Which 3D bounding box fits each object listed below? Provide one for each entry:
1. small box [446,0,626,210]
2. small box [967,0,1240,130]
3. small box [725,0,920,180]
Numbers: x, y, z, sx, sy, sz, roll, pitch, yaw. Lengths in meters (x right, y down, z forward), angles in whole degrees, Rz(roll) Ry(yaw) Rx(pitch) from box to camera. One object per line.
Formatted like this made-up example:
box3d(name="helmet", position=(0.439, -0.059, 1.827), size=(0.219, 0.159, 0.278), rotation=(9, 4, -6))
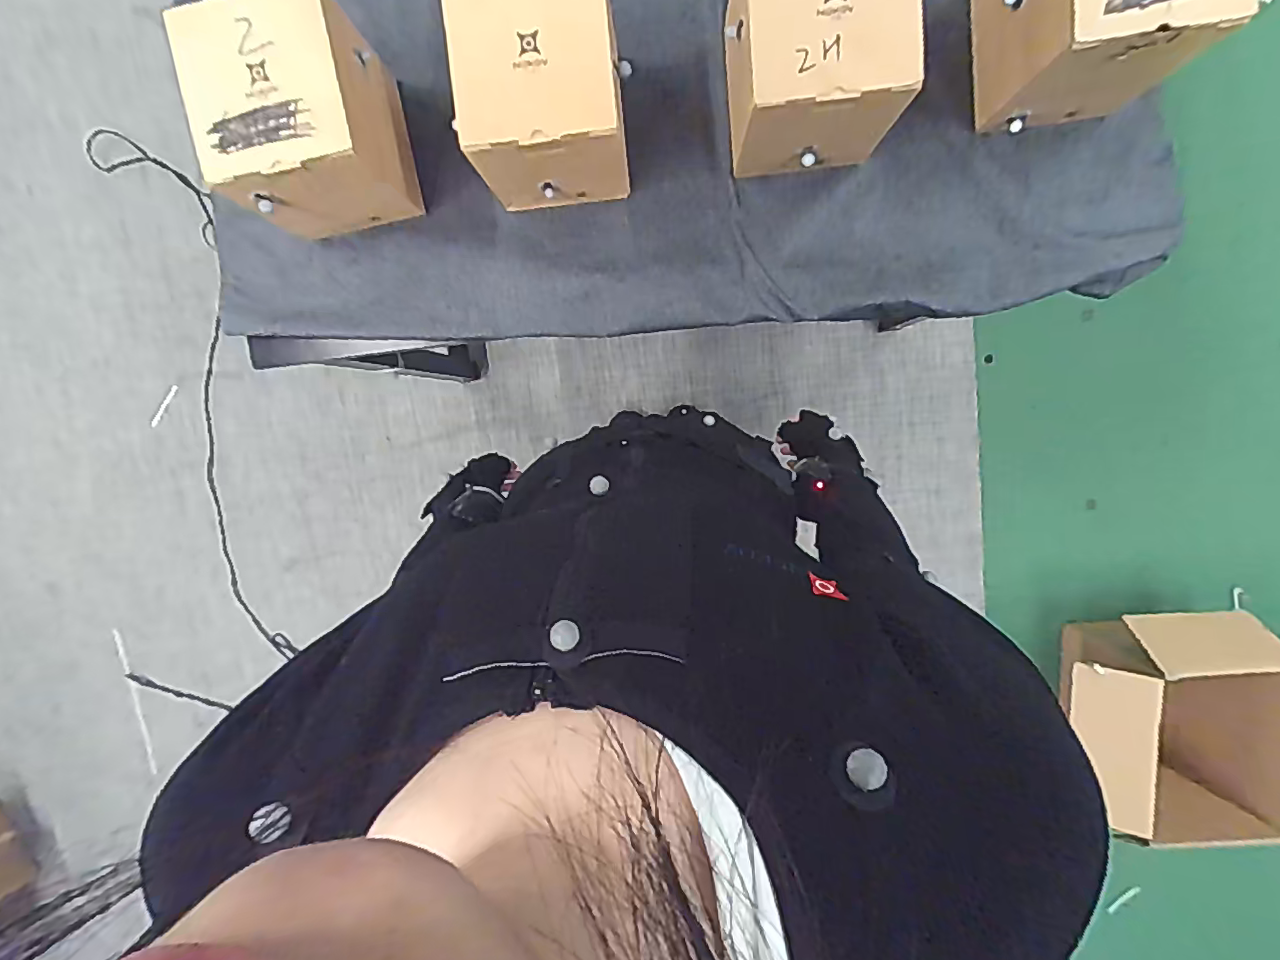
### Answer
box3d(name="small box", position=(-0.106, -0.438, 0.620), size=(0.168, 0.176, 0.179), rotation=(-5, 97, 2))
box3d(name="small box", position=(0.486, -0.513, 0.591), size=(0.168, 0.176, 0.179), rotation=(-6, 96, 2))
box3d(name="small box", position=(0.190, -0.469, 0.606), size=(0.168, 0.176, 0.179), rotation=(-5, 97, 3))
